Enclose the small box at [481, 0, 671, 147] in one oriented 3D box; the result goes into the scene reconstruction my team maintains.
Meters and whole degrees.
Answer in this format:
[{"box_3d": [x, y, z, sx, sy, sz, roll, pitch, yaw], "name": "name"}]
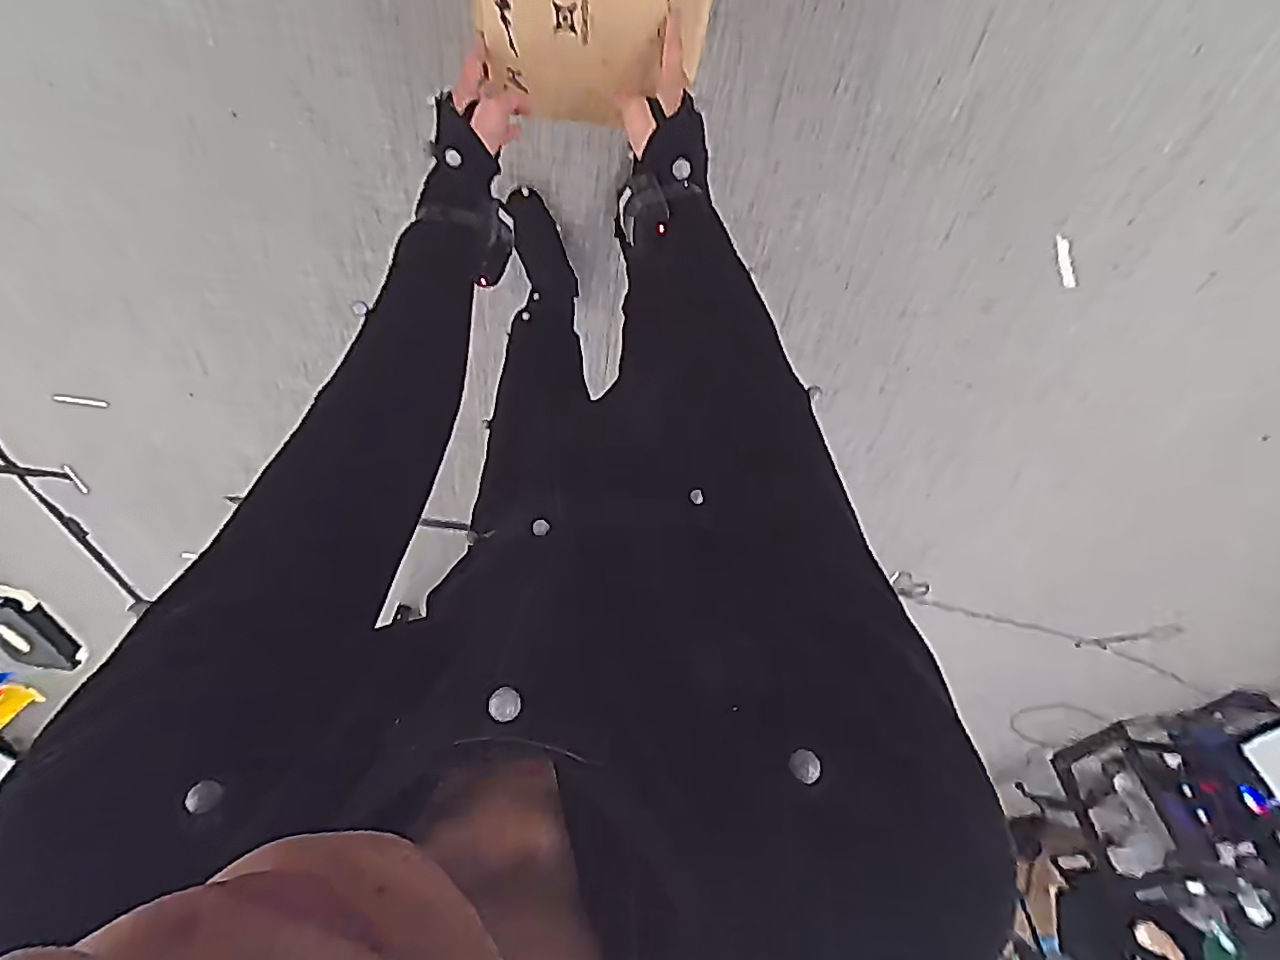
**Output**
[{"box_3d": [-0.061, -0.480, 0.573, 0.179, 0.176, 0.168, 5, 138, -2], "name": "small box"}]
